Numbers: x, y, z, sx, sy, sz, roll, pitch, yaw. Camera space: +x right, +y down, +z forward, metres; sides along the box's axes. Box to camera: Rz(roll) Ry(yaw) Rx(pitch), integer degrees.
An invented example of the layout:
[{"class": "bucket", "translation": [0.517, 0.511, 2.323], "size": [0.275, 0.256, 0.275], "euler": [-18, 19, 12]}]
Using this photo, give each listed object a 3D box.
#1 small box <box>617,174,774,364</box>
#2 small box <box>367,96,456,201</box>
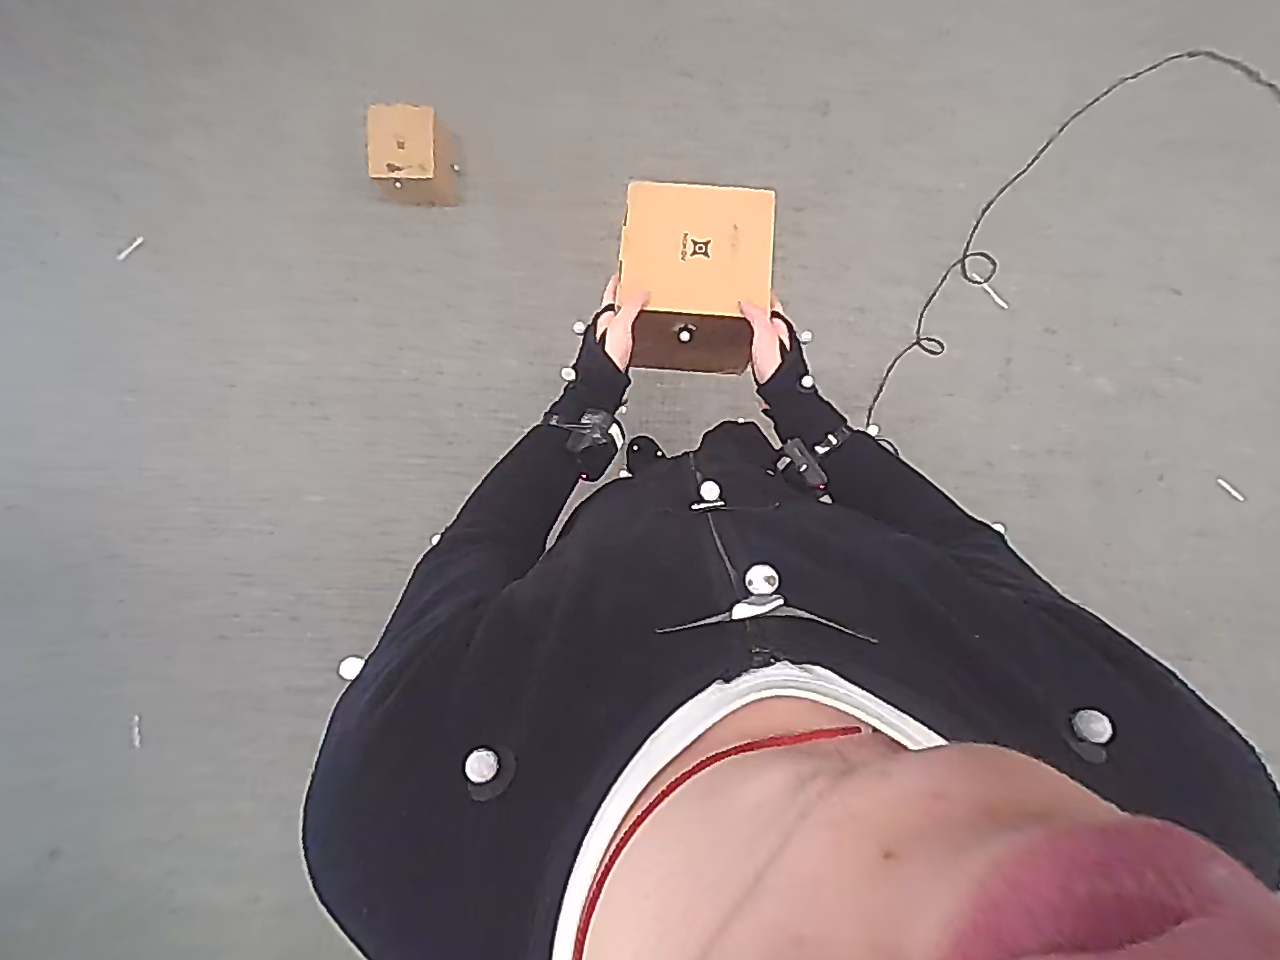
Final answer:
[{"class": "small box", "translation": [0.065, -0.260, 0.700], "size": [0.179, 0.176, 0.168], "euler": [4, 80, 0]}, {"class": "small box", "translation": [-0.592, -0.862, 1.417], "size": [0.168, 0.176, 0.179], "euler": [2, 95, 1]}]
